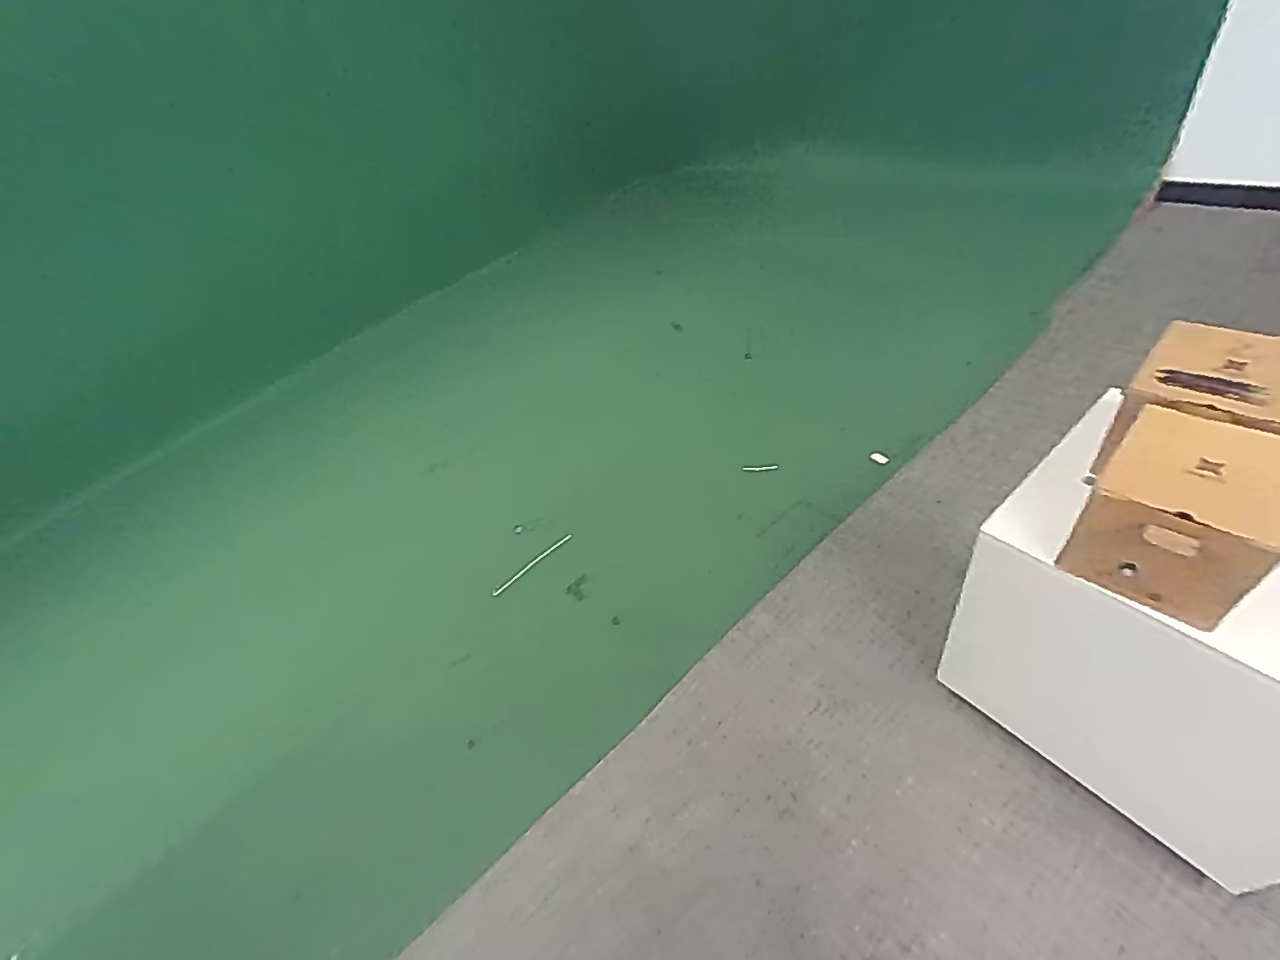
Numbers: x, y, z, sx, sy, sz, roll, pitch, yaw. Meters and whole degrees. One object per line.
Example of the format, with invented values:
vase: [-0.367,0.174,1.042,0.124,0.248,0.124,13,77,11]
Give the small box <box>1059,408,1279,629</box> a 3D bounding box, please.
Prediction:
small box: [0.664,0.046,0.672,0.179,0.176,0.168,-43,48,-21]
